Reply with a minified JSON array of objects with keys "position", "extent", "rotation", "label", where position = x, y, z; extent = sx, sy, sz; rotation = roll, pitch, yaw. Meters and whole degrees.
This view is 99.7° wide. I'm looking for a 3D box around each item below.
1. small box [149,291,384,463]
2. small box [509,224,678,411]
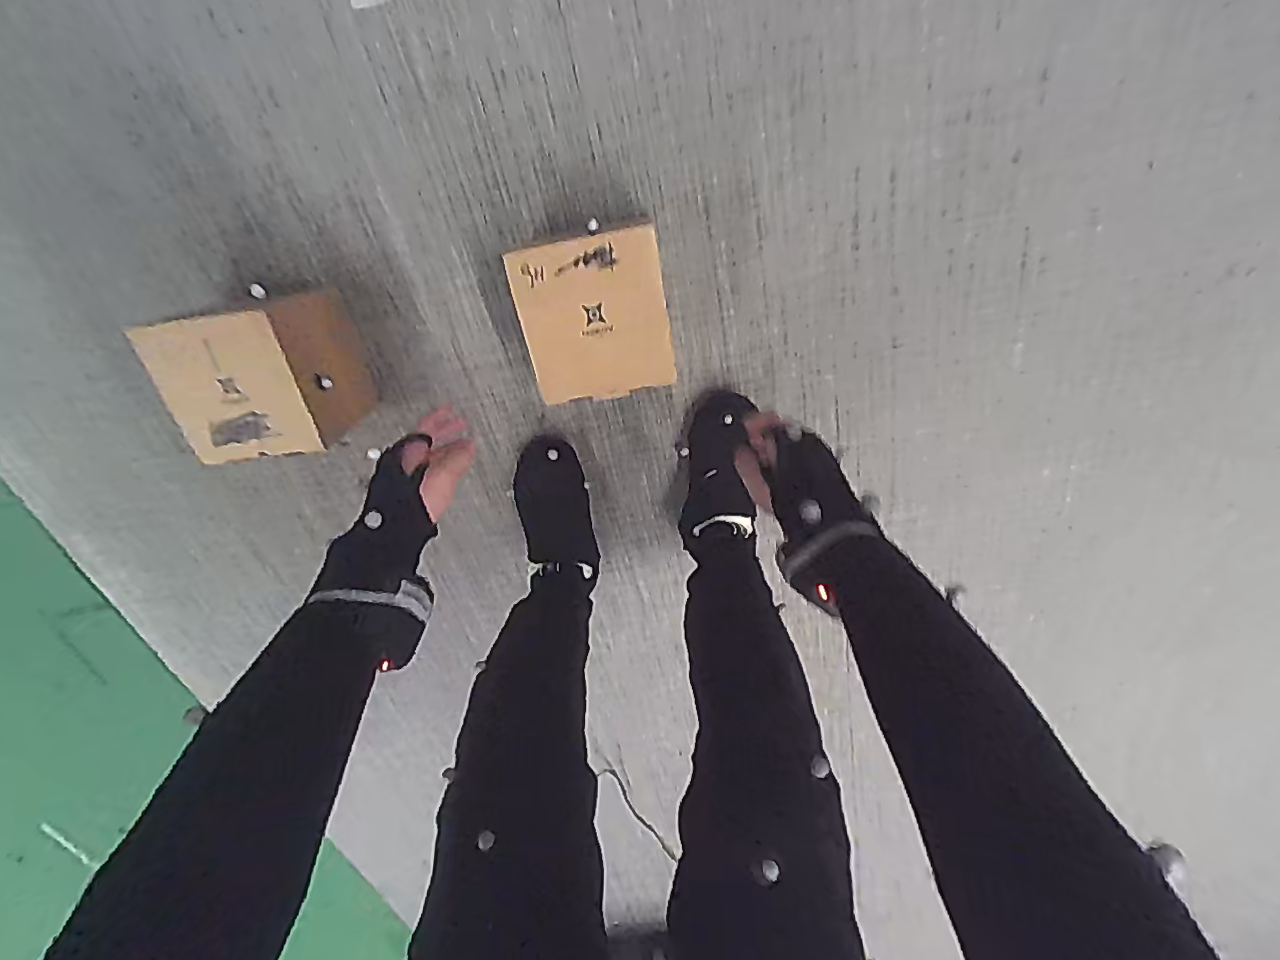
[{"position":[-0.476,-0.142,0.726],"extent":[0.168,0.176,0.179],"rotation":[-7,117,2],"label":"small box"},{"position":[-0.046,-0.207,0.676],"extent":[0.168,0.176,0.179],"rotation":[-9,119,4],"label":"small box"}]
